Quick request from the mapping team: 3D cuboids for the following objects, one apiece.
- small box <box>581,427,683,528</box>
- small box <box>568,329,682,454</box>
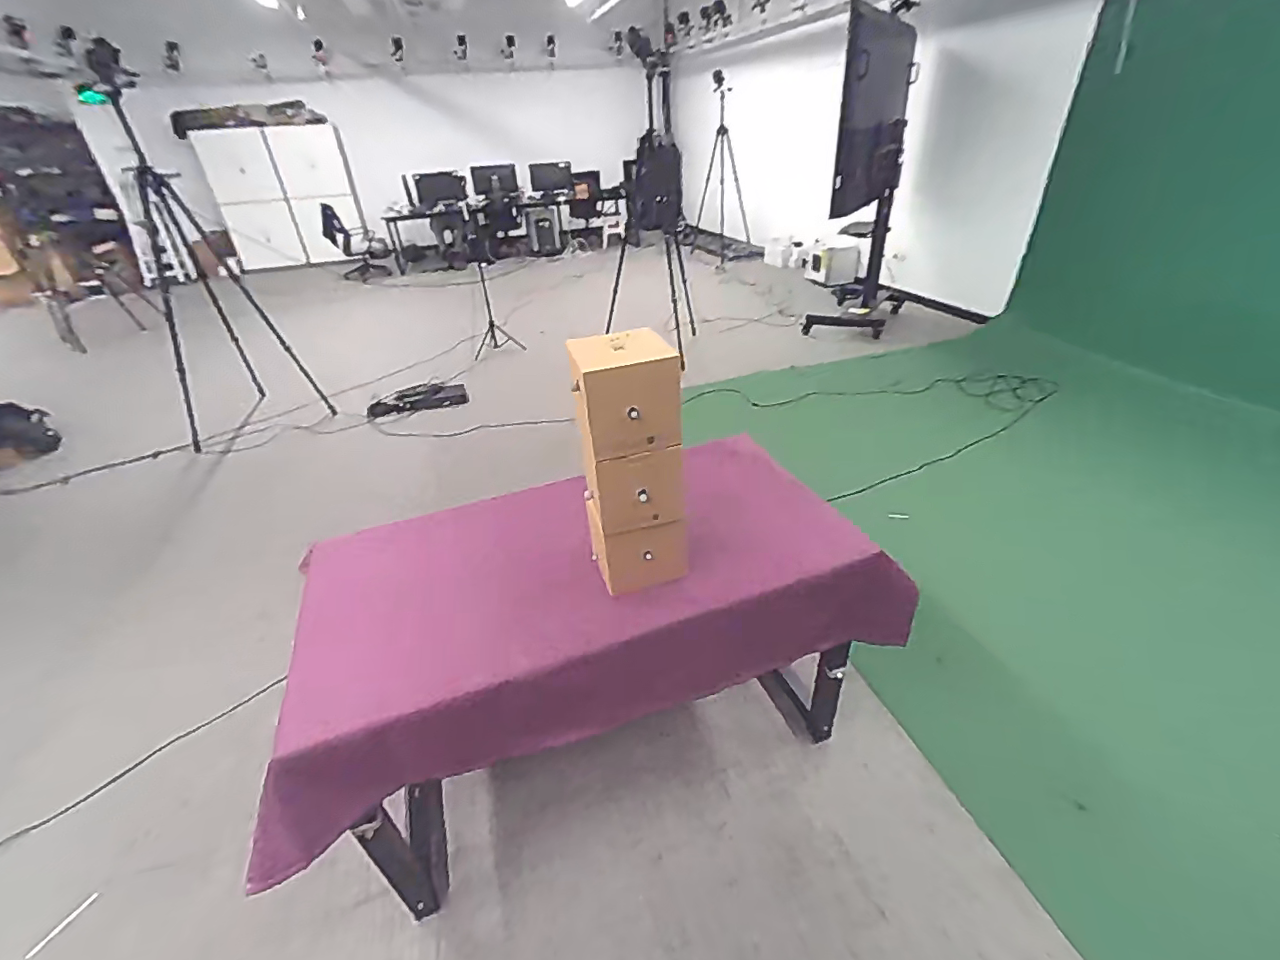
[{"bbox_3d":[-0.015,-0.019,1.069,0.168,0.176,0.179,-11,34,-10],"label":"small box"},{"bbox_3d":[-0.027,-0.157,0.977,0.168,0.176,0.179,-12,33,-11],"label":"small box"}]
